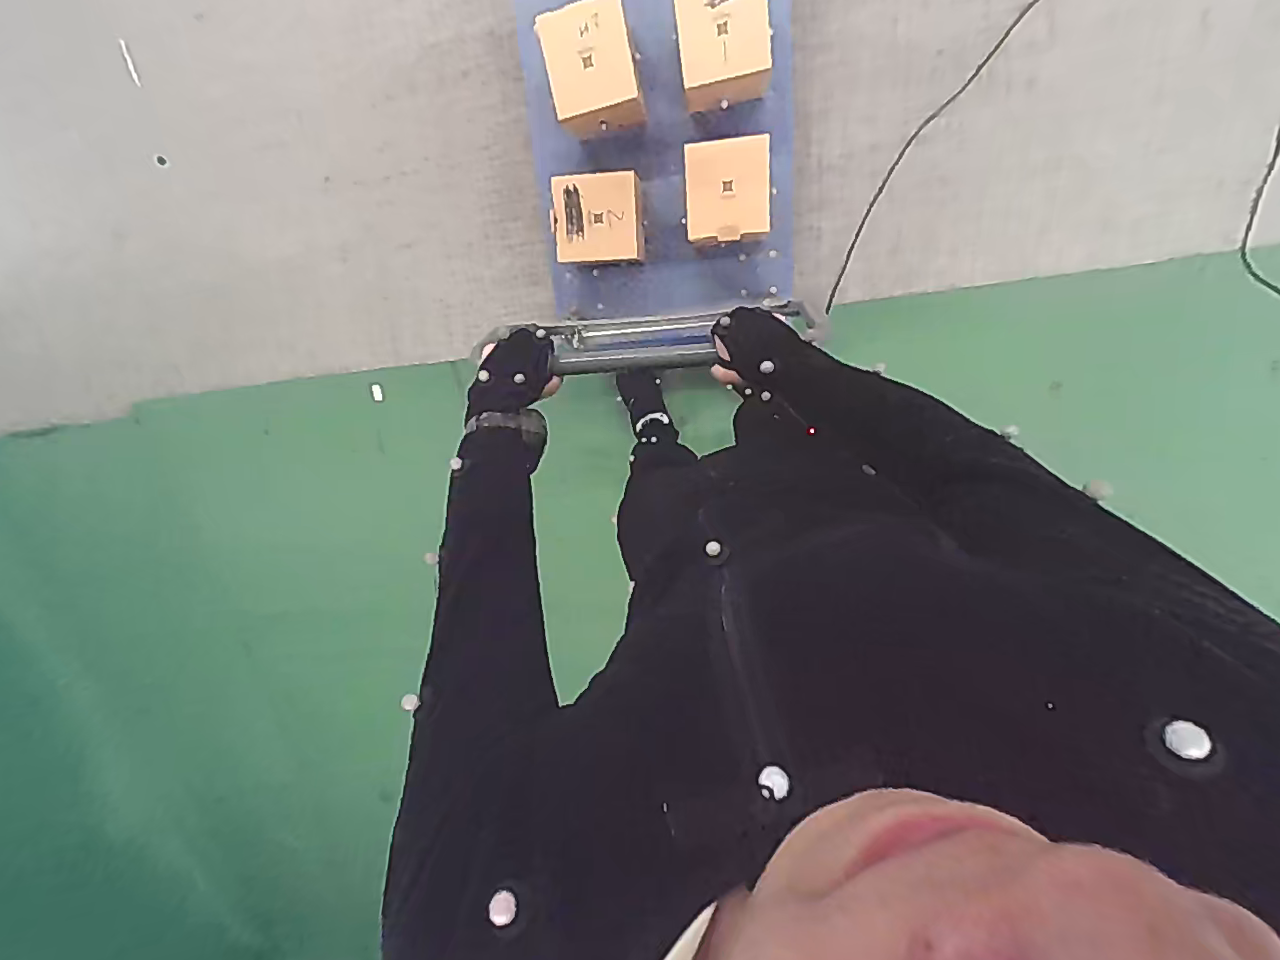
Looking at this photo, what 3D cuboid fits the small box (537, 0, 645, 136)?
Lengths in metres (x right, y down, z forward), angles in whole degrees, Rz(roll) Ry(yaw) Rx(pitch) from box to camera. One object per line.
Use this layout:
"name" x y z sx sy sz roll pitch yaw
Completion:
"small box" -0.089 -0.827 1.102 0.168 0.176 0.179 -9 108 10

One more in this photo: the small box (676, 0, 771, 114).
"small box" 0.161 -0.855 1.060 0.168 0.176 0.179 -6 110 10

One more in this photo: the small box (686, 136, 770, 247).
"small box" 0.184 -0.603 1.150 0.168 0.176 0.179 -2 110 8
